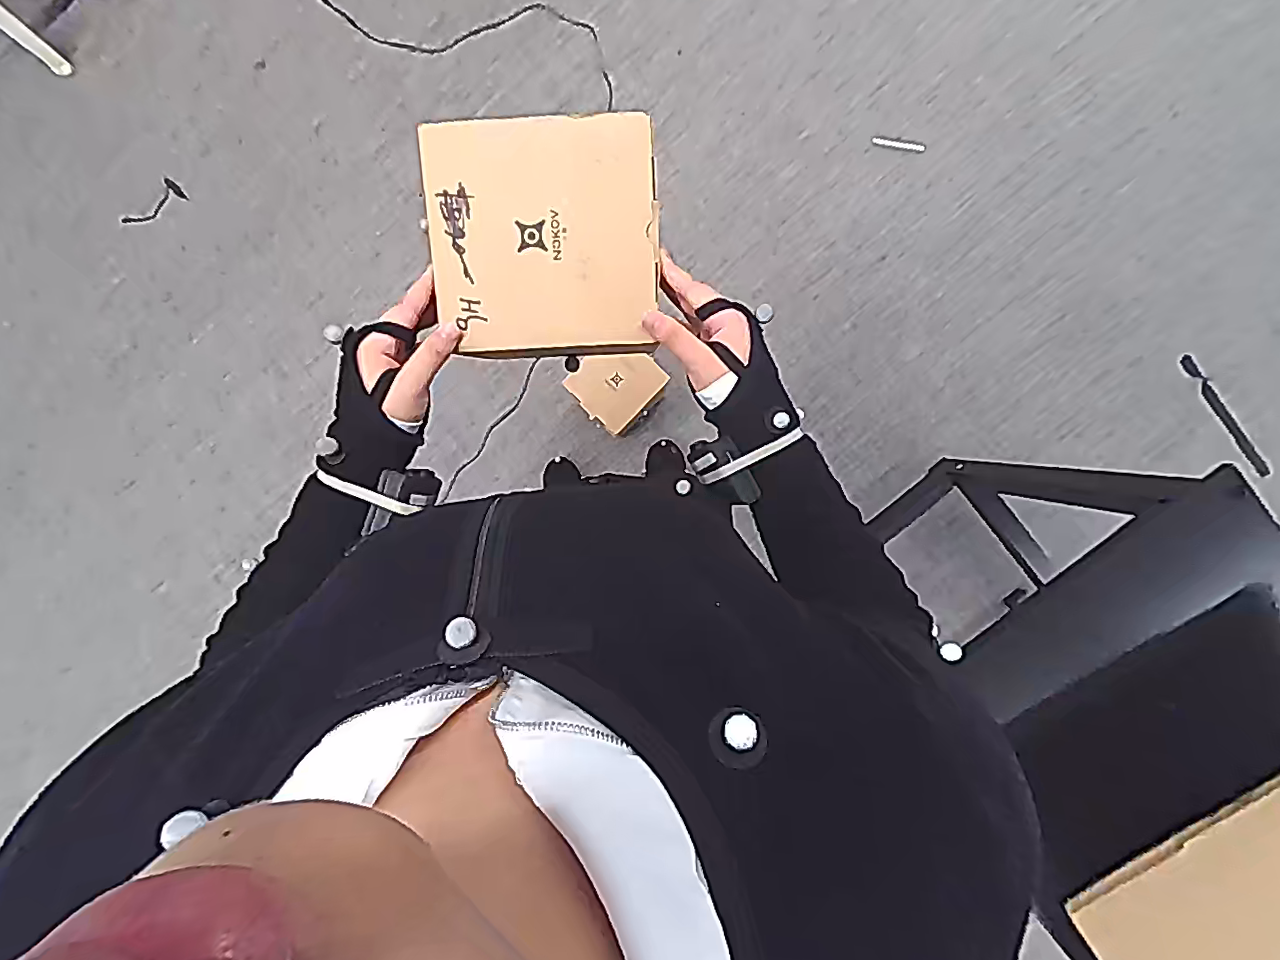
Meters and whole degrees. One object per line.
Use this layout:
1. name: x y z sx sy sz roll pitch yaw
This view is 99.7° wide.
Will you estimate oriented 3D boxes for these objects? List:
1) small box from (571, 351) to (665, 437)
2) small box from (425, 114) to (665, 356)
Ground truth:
1. small box: -0.054 -0.229 1.402 0.179 0.176 0.168 -43 92 4
2. small box: -0.073 -0.204 0.494 0.179 0.176 0.168 -3 99 -1
